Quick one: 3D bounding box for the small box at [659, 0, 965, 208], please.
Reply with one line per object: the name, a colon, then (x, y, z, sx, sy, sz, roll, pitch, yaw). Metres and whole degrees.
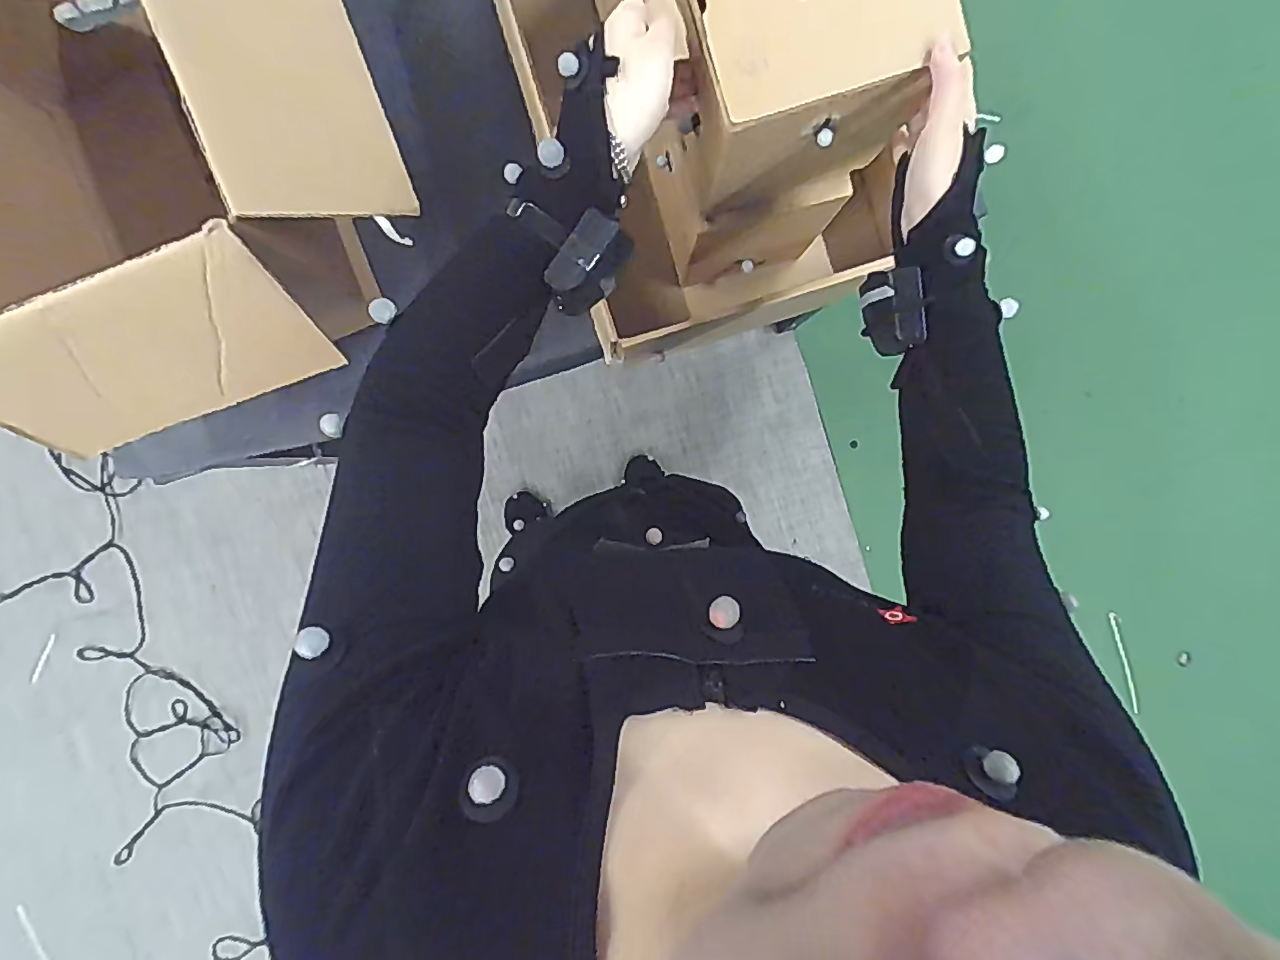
small box: (0.118, -0.355, 0.446, 0.179, 0.176, 0.168, -18, 97, 0)
